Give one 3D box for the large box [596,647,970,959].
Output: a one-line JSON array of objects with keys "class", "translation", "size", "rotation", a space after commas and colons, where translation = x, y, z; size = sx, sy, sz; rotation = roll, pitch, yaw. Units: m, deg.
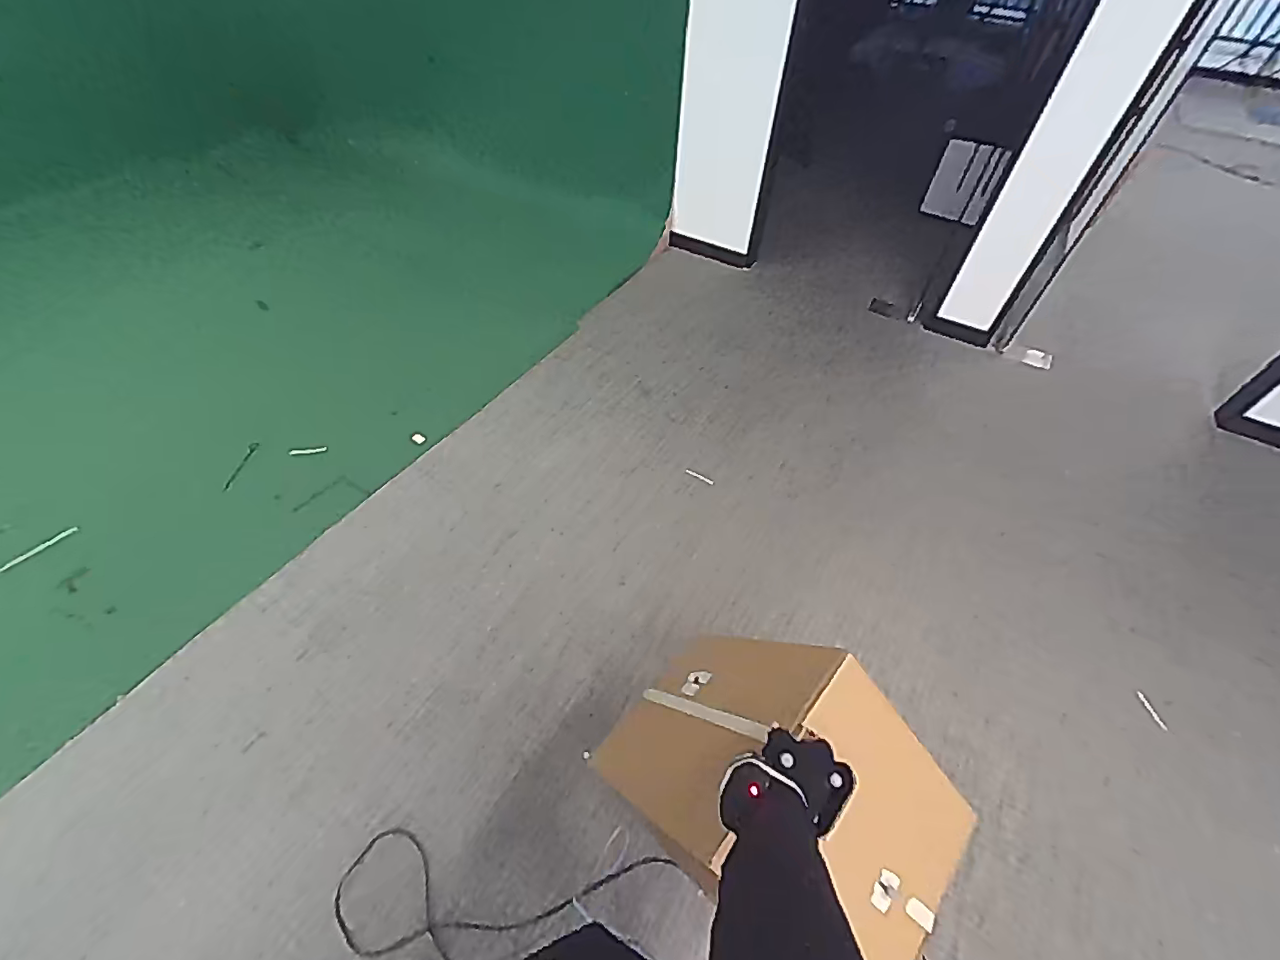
[{"class": "large box", "translation": [0.199, 0.493, 0.847], "size": [0.320, 0.408, 0.320], "rotation": [-41, 96, -27]}]
